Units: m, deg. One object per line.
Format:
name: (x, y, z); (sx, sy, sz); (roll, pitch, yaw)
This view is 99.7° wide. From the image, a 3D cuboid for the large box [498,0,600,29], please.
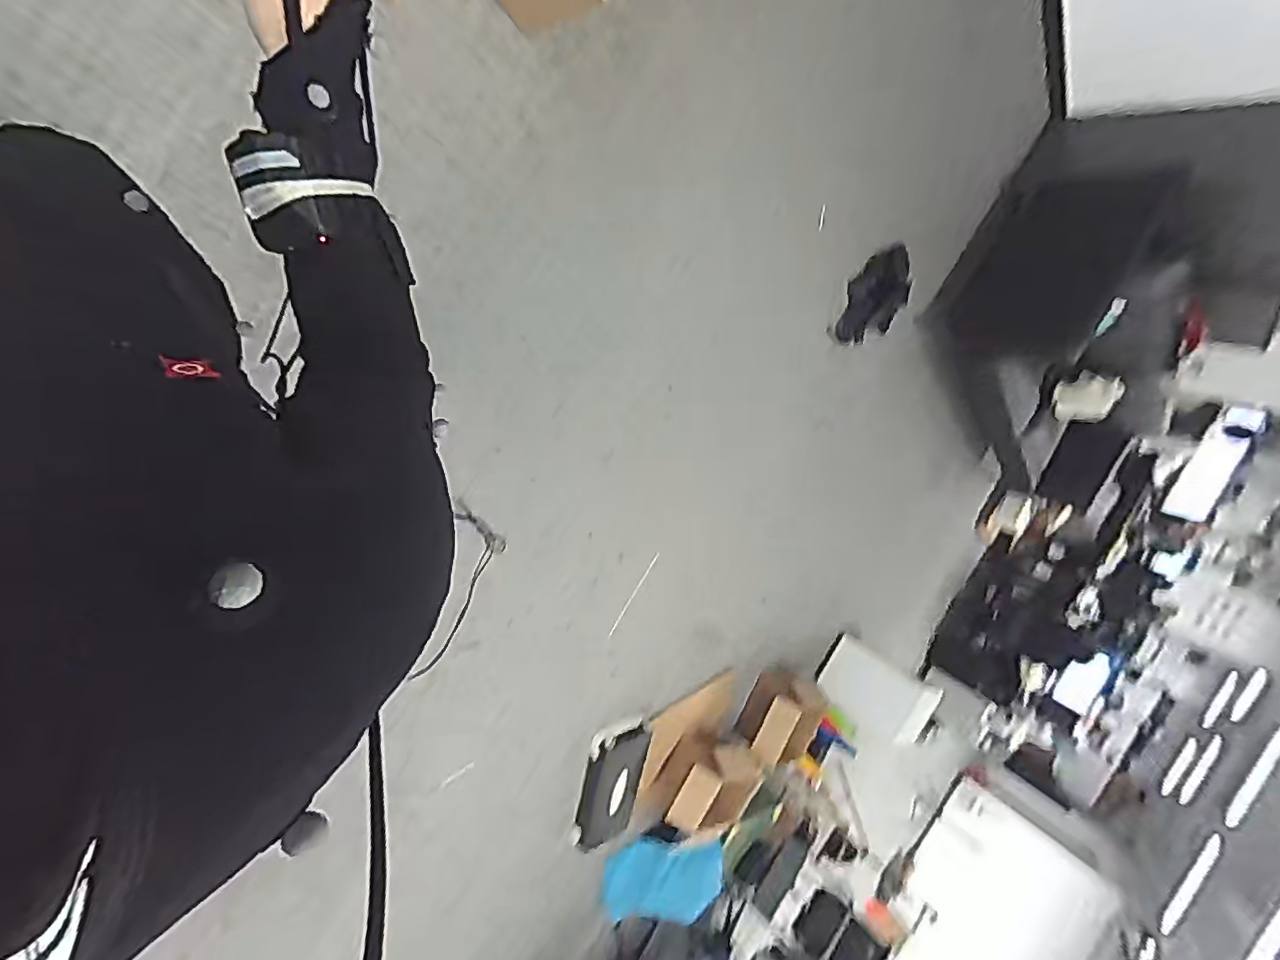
large box: (-0.208, -1.122, 0.937); (0.408, 0.320, 0.320); (30, 92, -47)
